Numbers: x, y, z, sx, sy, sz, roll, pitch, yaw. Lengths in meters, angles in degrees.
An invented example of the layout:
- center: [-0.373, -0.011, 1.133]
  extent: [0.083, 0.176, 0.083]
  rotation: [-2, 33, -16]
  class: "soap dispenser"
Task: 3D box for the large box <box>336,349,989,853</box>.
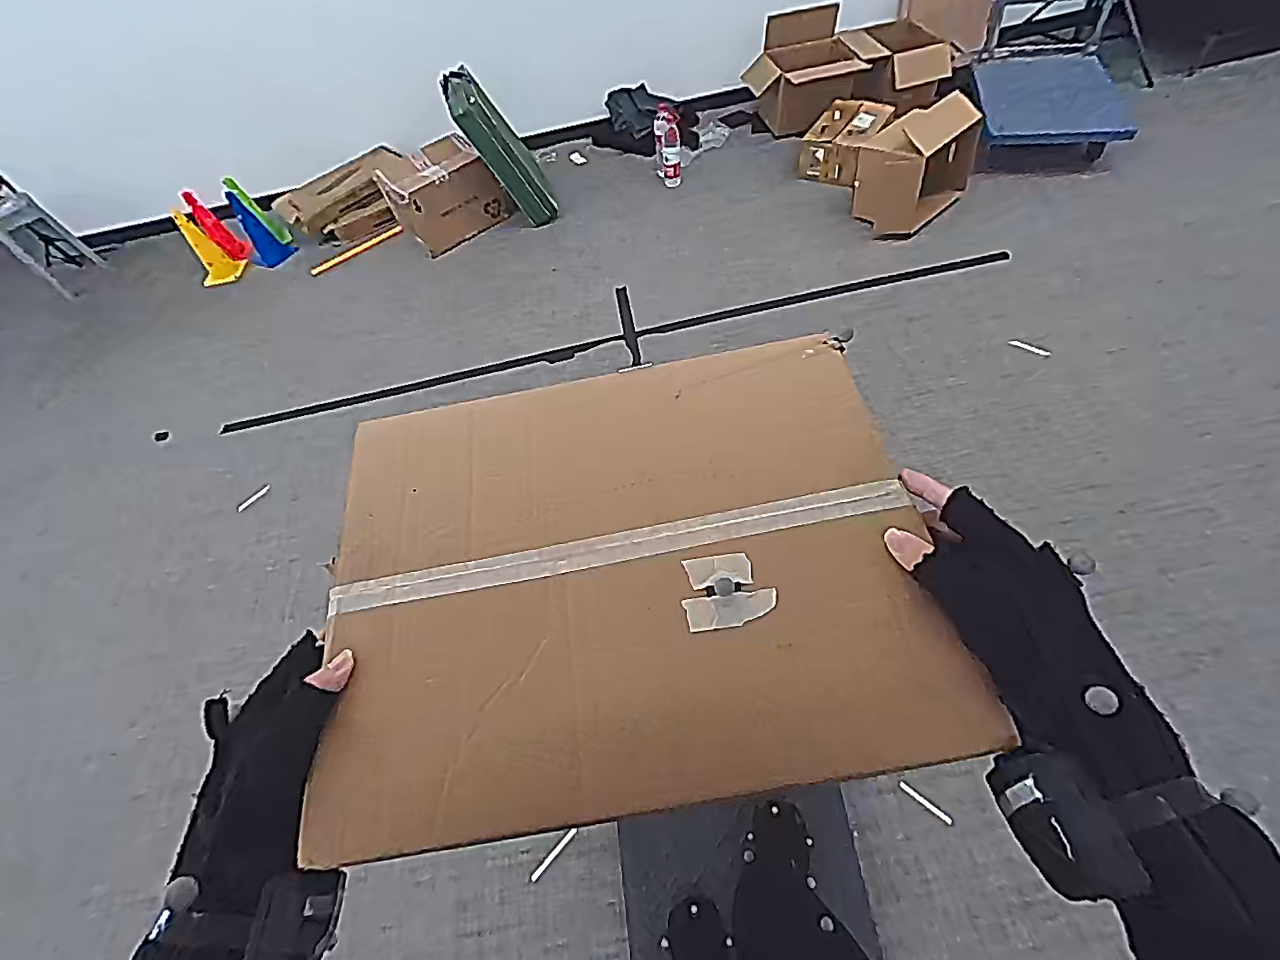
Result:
- center: [0.004, 0.127, 0.520]
  extent: [0.408, 0.320, 0.320]
  rotation: [-11, 60, 1]
  class: "large box"
